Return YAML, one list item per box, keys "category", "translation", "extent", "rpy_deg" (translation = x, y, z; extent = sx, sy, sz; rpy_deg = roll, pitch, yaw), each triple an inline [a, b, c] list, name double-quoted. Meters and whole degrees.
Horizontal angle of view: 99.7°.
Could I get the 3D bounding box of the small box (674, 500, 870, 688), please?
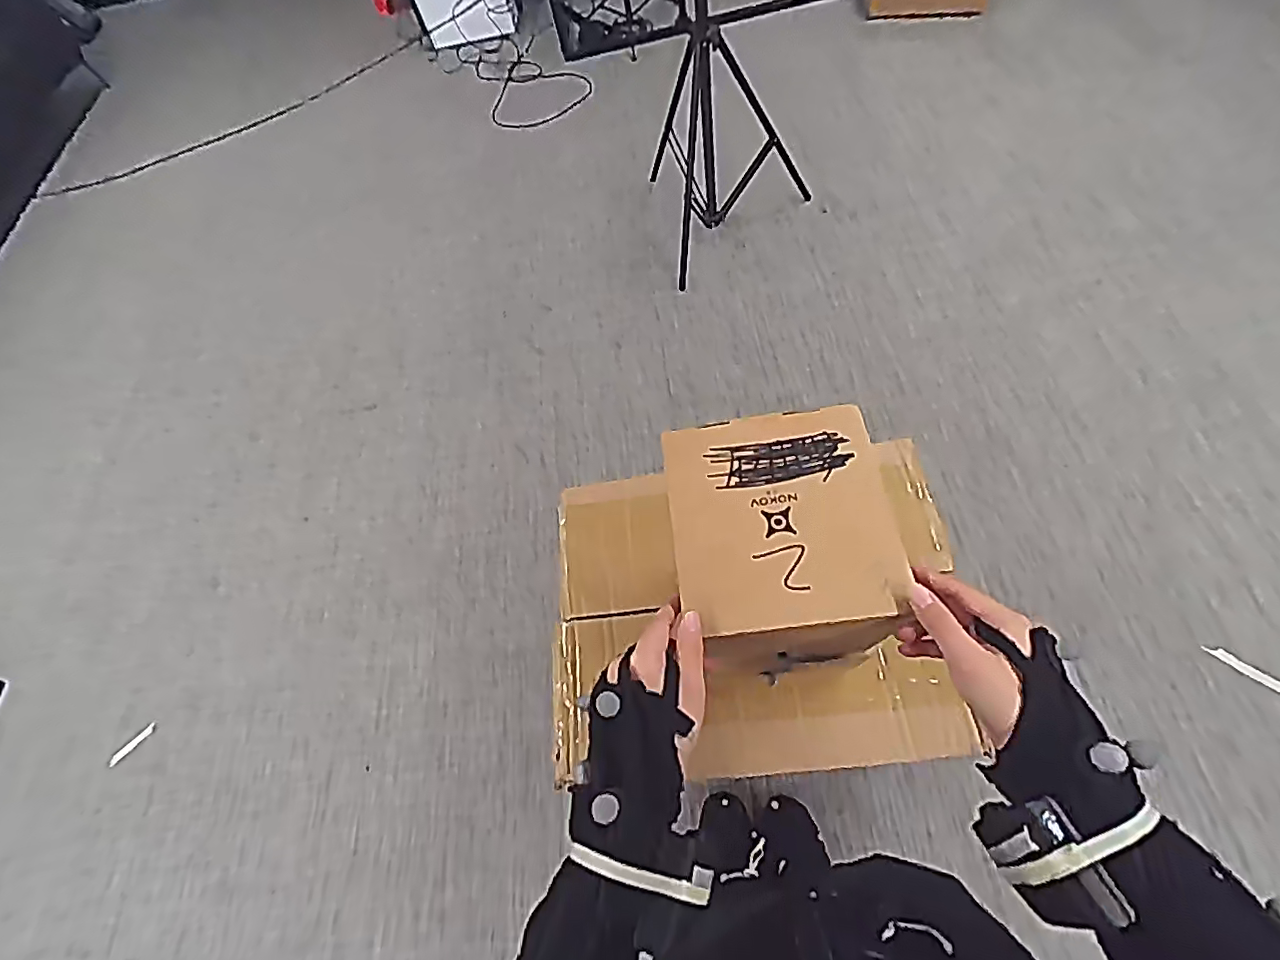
- category: "small box"
  translation: [0.141, 0.141, 0.626]
  extent: [0.179, 0.176, 0.168]
  rpy_deg: [-8, 62, 6]
